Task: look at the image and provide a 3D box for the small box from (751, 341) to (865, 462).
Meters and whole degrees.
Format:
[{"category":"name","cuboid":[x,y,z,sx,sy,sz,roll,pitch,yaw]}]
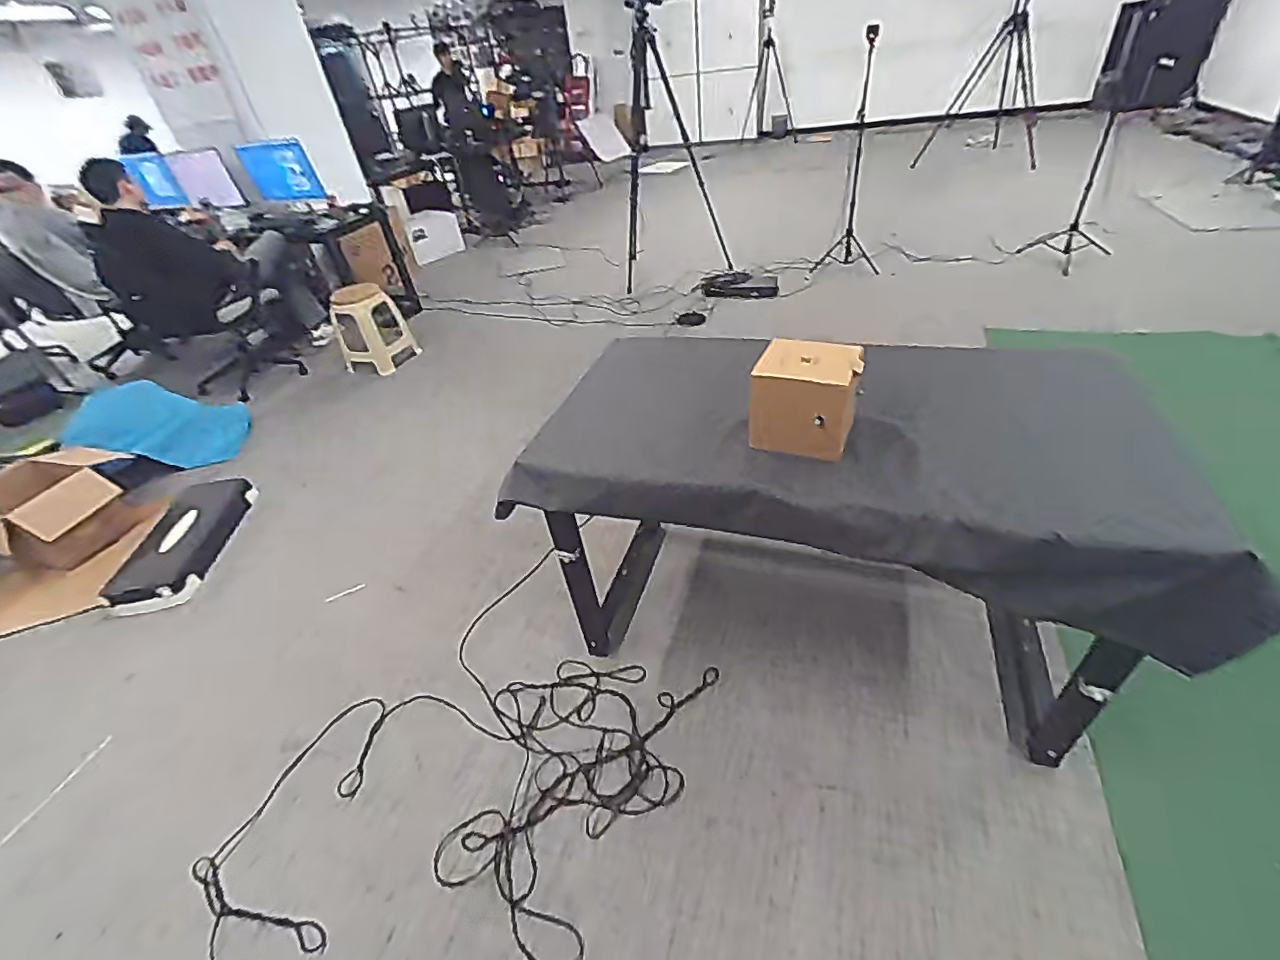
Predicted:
[{"category":"small box","cuboid":[0.325,-0.154,1.056,0.179,0.176,0.168,11,41,25]}]
